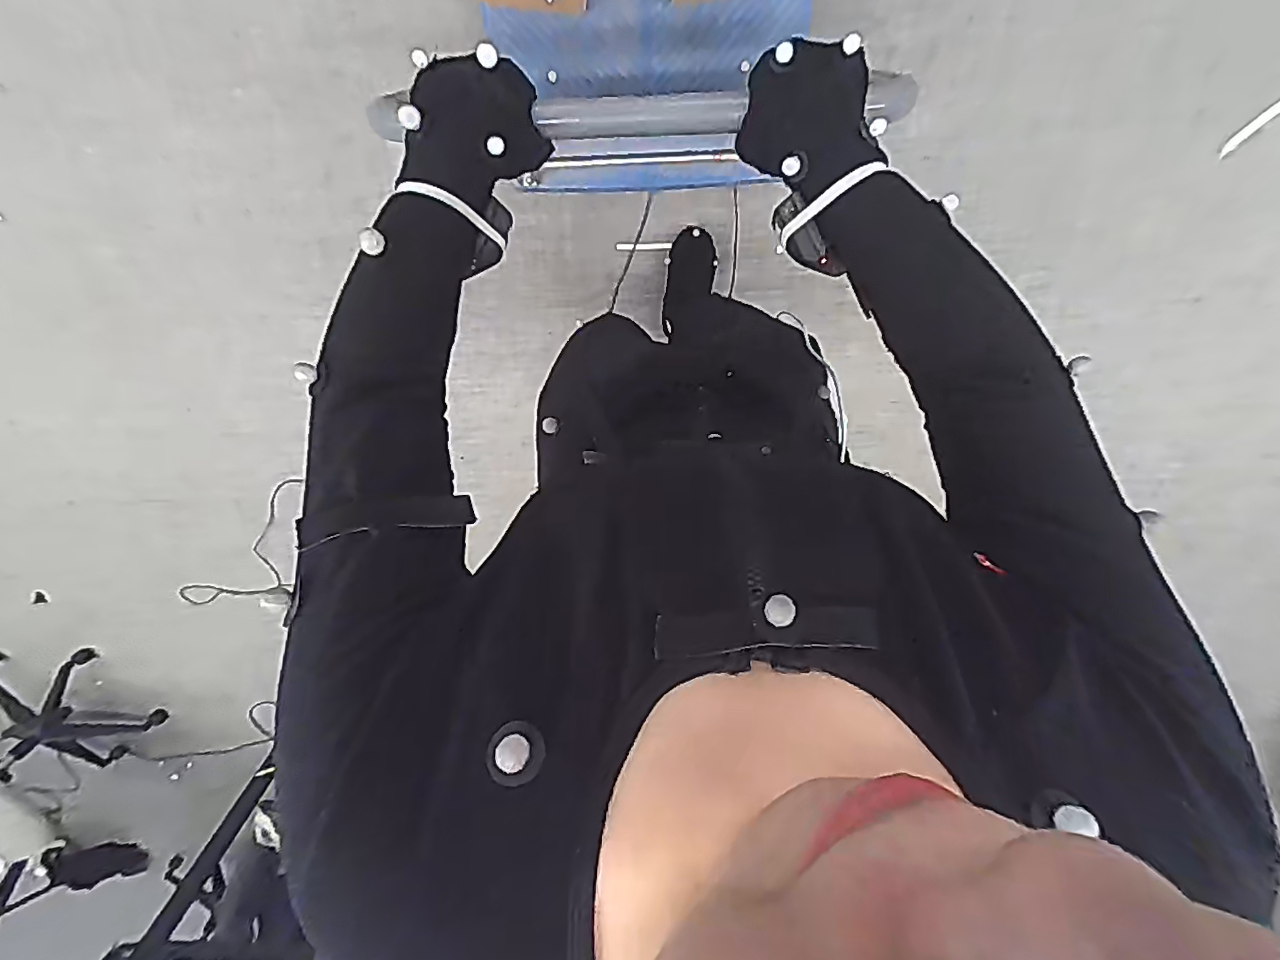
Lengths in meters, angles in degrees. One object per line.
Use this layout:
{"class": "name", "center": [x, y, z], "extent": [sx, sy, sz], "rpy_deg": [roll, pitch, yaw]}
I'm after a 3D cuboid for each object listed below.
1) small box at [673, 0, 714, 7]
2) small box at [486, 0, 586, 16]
{"class": "small box", "center": [0.127, -0.861, 0.827], "extent": [0.179, 0.176, 0.168], "rpy_deg": [-5, 119, 6]}
{"class": "small box", "center": [-0.179, -0.857, 0.845], "extent": [0.179, 0.176, 0.168], "rpy_deg": [4, 119, -1]}
